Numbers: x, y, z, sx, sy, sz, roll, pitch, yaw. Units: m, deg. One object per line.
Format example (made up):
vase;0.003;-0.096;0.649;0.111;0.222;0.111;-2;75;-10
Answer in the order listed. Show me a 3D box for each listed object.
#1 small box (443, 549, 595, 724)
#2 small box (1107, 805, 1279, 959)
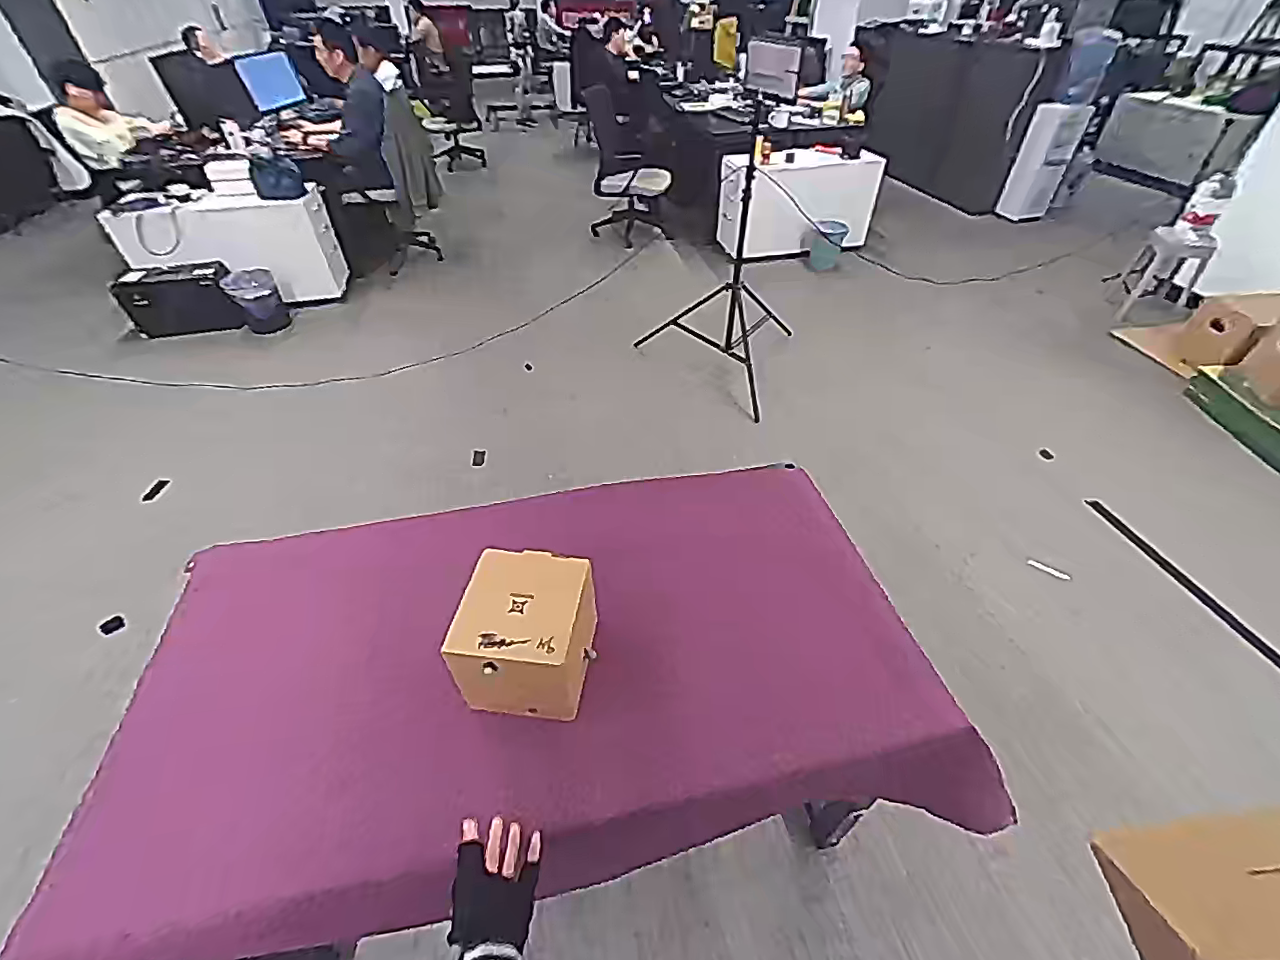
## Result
small box;-0.164;0.230;0.801;0.168;0.176;0.179;5;42;6
small box;0.377;0.274;0.257;0.168;0.179;0.176;-20;70;19
